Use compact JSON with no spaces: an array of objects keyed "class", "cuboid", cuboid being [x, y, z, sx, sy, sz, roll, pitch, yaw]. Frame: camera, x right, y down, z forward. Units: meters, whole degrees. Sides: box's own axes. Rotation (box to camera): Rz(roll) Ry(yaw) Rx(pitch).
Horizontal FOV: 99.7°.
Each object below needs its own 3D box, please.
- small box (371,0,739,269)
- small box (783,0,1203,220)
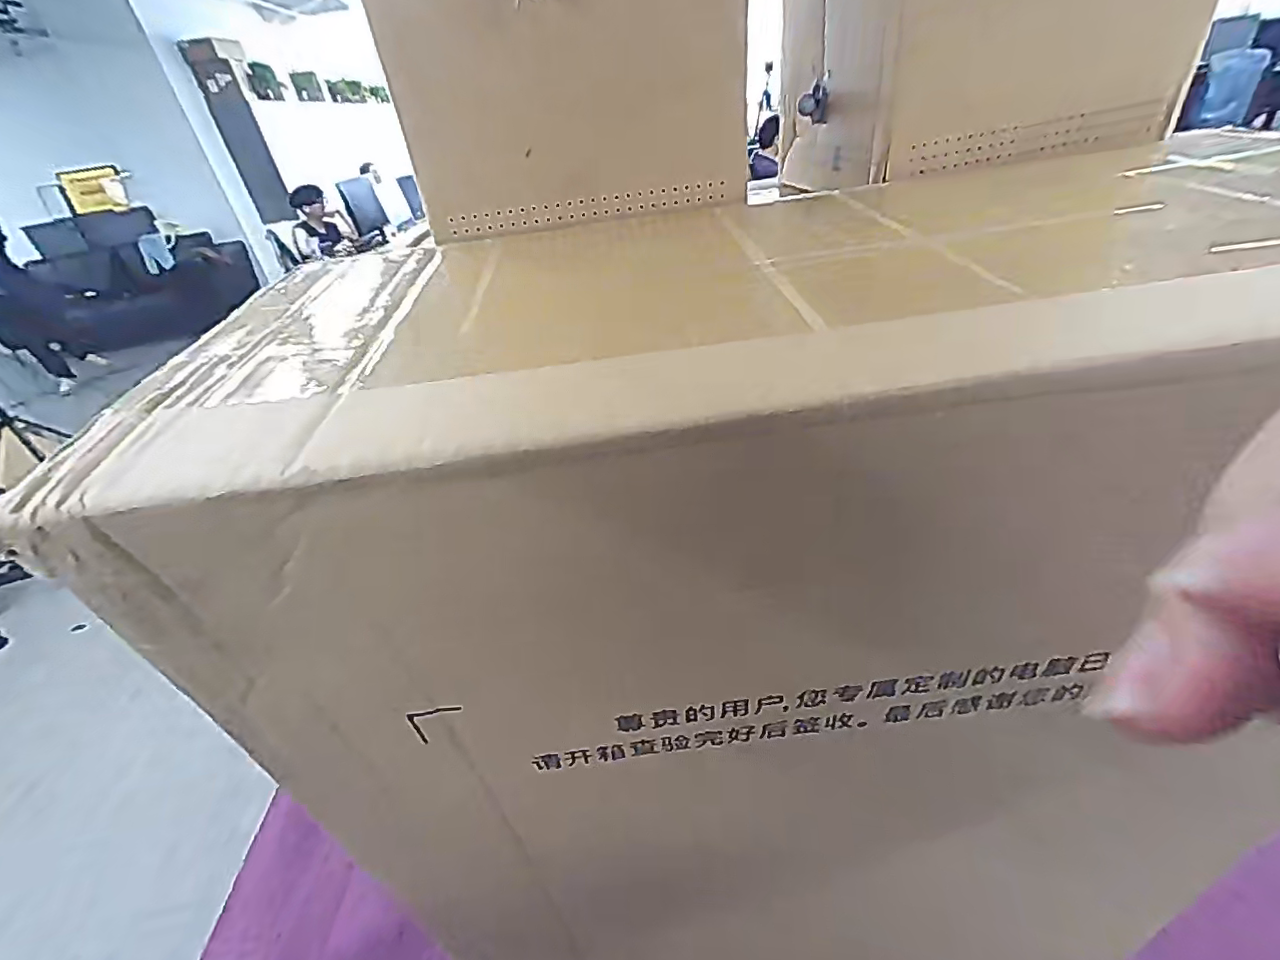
[{"class":"small box","cuboid":[-0.042,-0.236,0.325,0.179,0.176,0.168,-7,36,-2]},{"class":"small box","cuboid":[0.198,-0.278,0.336,0.179,0.176,0.168,-13,35,-3]}]
